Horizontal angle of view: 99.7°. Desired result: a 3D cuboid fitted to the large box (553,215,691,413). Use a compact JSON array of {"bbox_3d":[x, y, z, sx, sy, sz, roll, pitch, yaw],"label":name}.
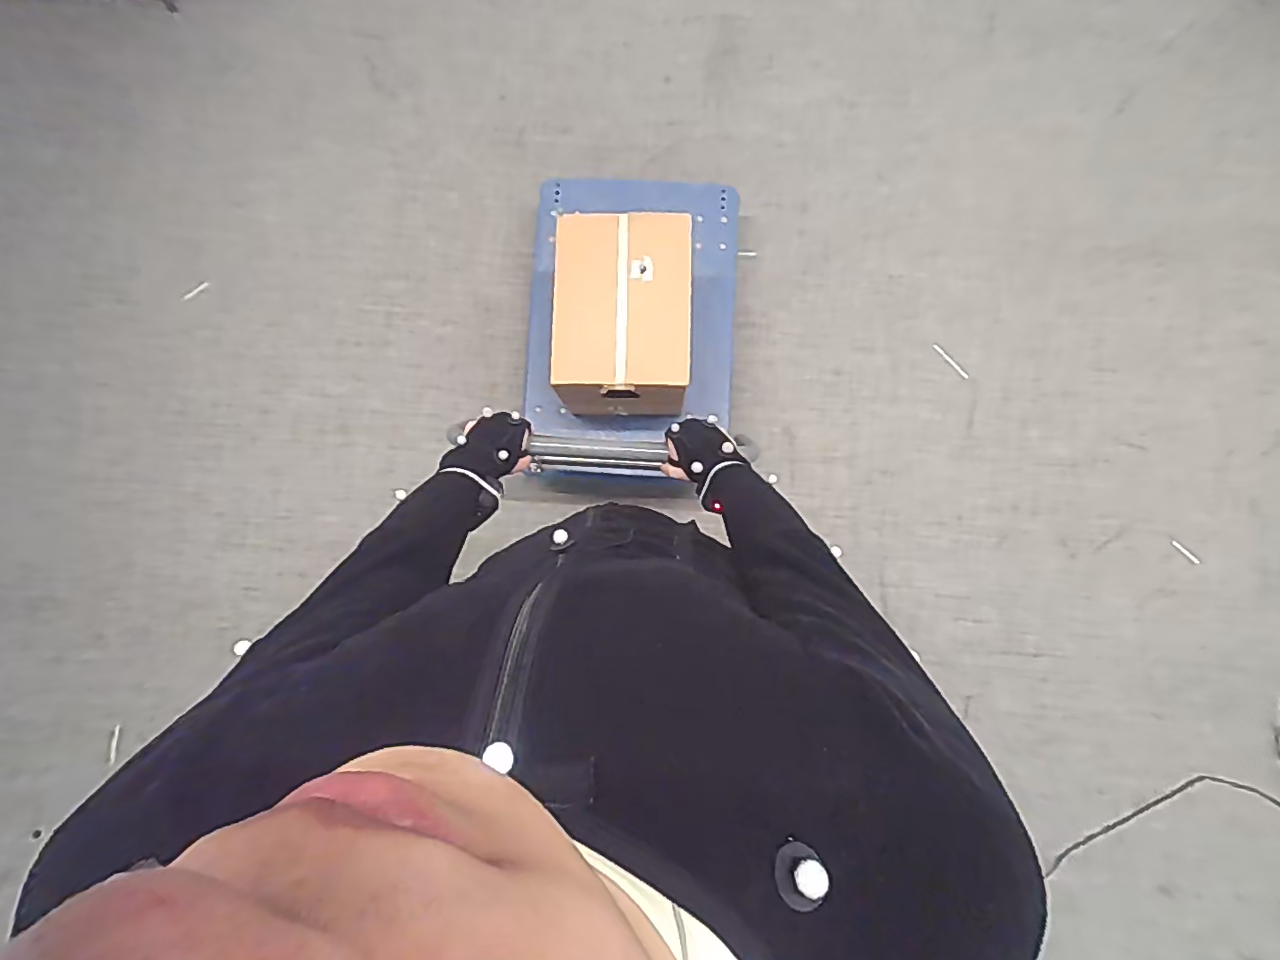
[{"bbox_3d":[-0.035,-0.399,1.379,0.320,0.320,0.408,1,85,2],"label":"large box"}]
